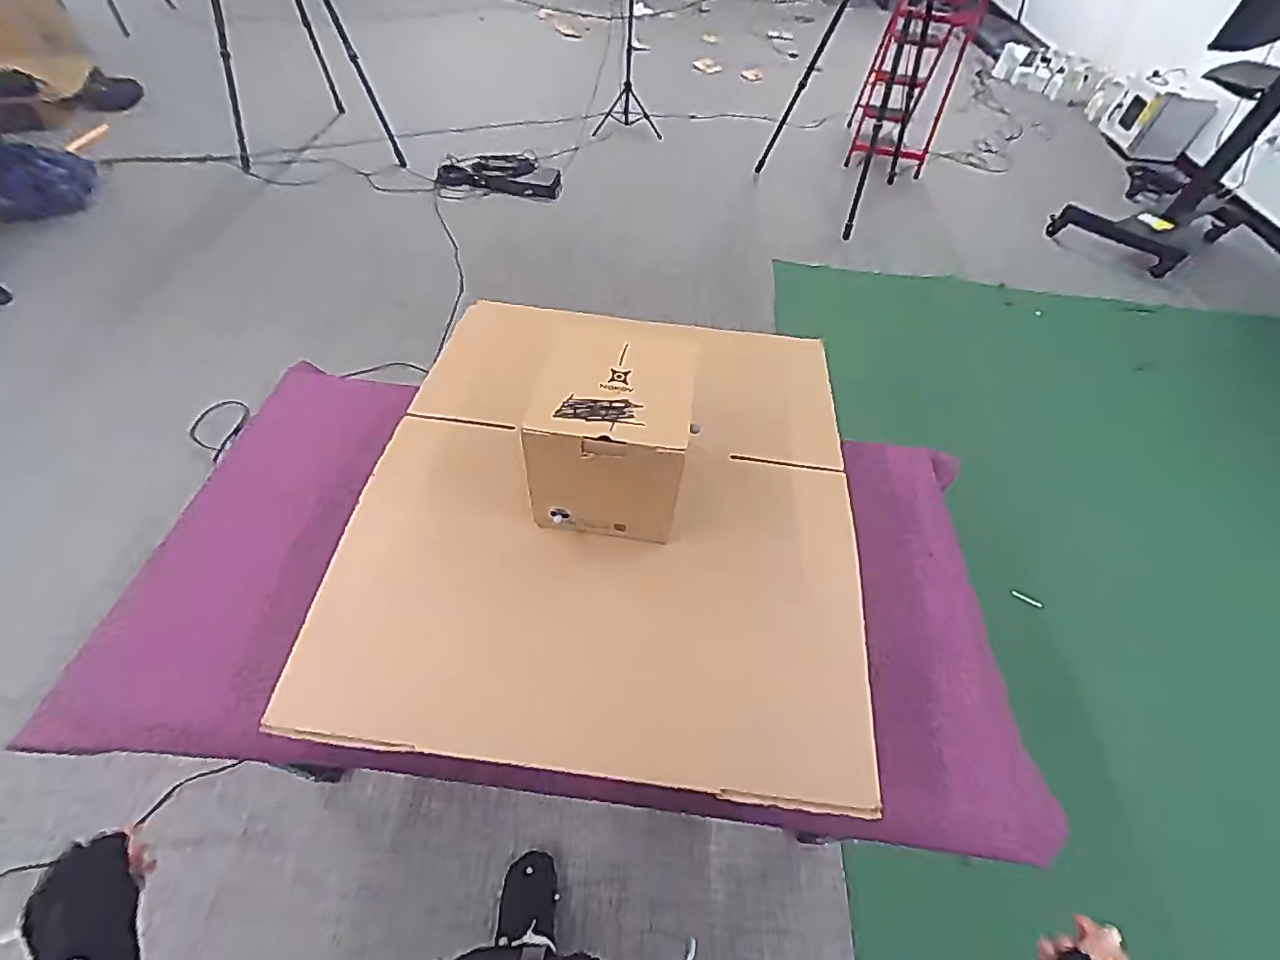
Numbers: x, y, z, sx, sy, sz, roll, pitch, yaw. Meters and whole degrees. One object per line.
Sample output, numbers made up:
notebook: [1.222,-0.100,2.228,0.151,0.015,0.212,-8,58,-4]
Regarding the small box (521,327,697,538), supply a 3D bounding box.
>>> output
small box: [-0.030,-0.052,0.638,0.168,0.176,0.179,8,51,1]
